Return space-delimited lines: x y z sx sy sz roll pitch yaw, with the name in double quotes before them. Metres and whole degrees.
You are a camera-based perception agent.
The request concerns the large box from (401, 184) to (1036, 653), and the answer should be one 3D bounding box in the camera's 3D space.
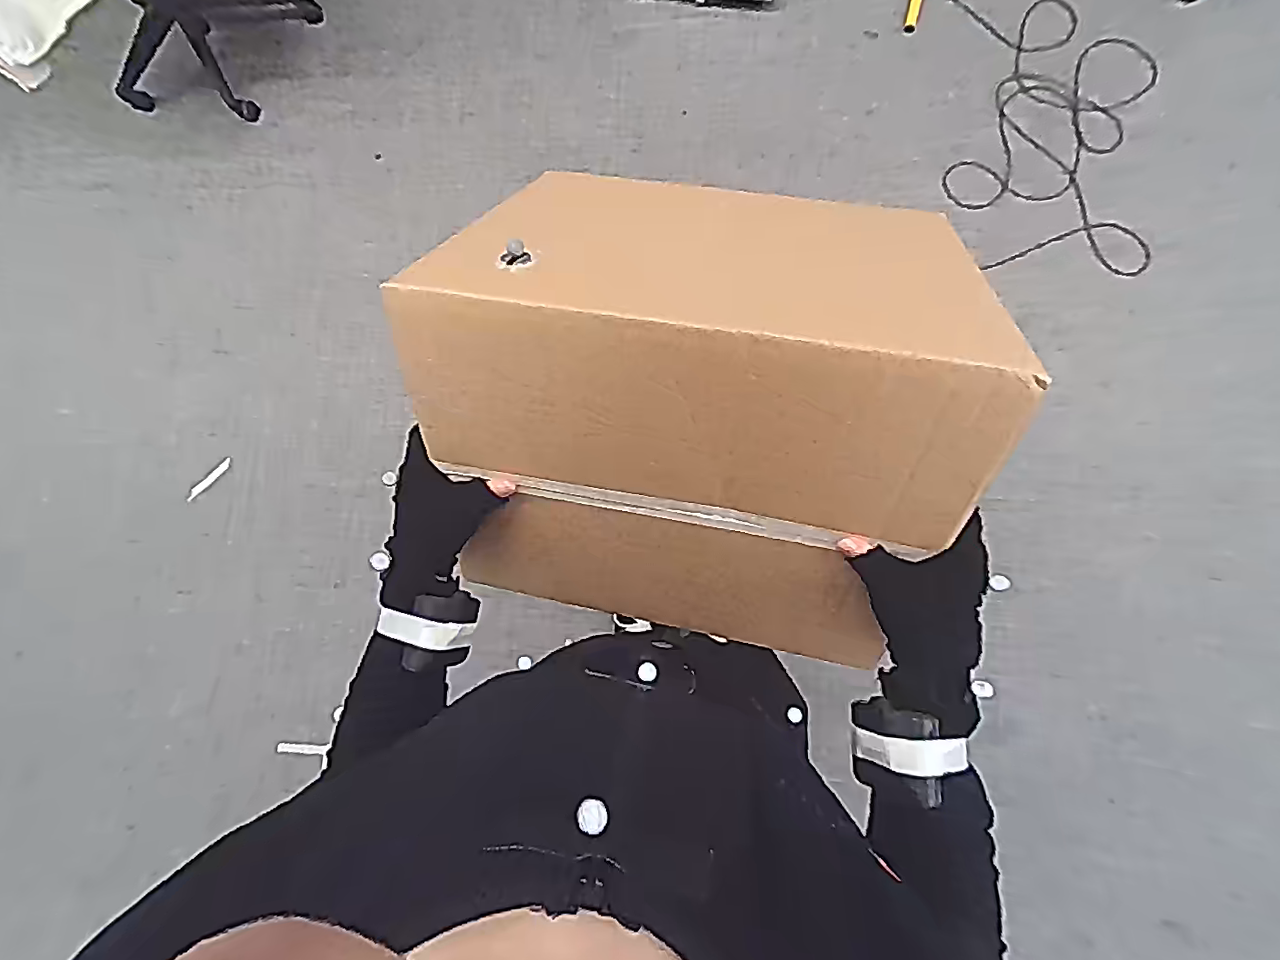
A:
"large box" 0.058 -0.081 0.540 0.408 0.320 0.320 10 43 8
